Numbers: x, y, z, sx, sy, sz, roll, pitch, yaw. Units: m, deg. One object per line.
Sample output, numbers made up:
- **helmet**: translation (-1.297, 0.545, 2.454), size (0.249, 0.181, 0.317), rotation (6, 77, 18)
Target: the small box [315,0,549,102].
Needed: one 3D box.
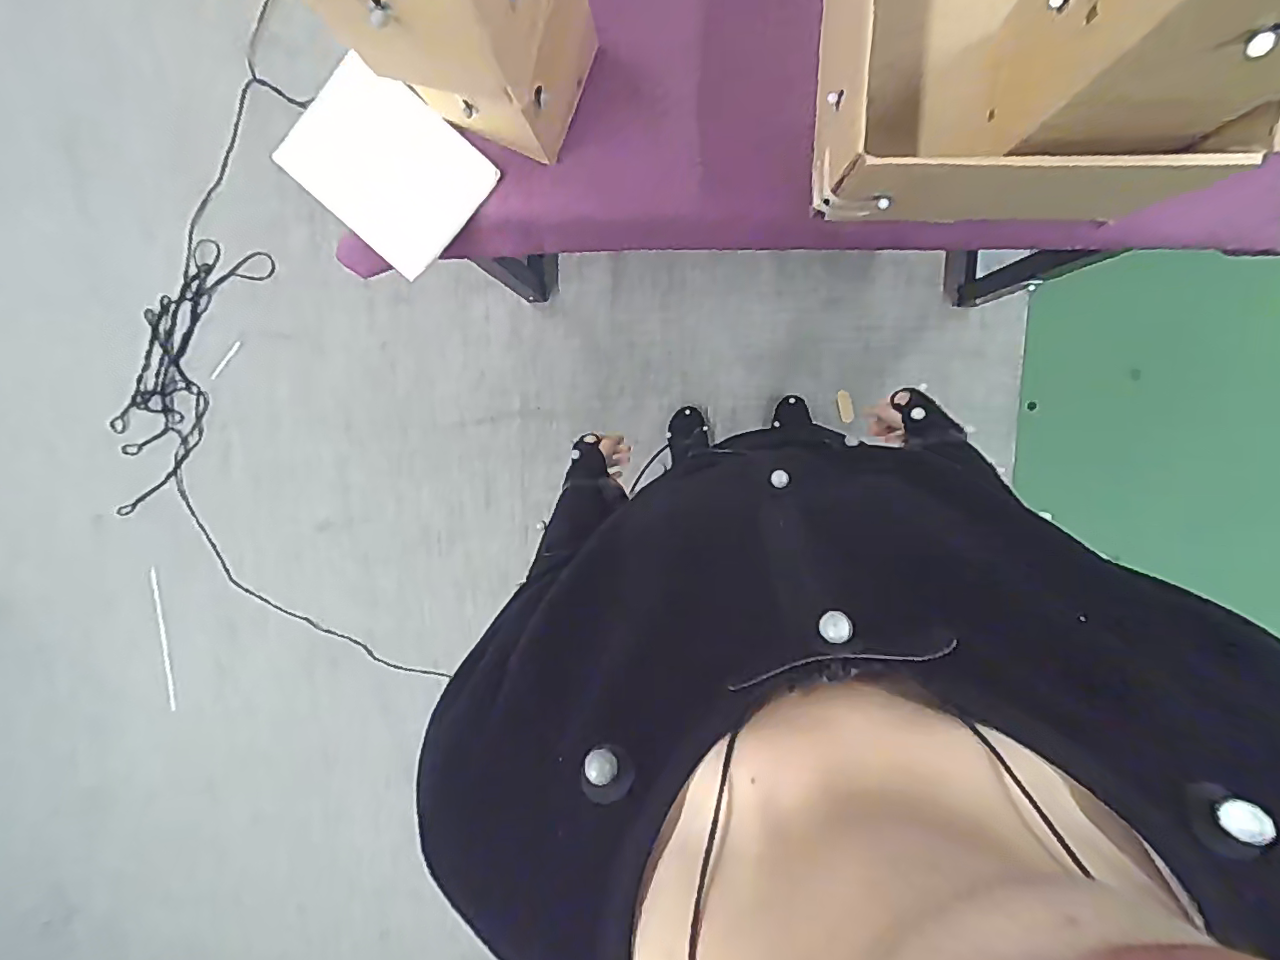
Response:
- **small box**: translation (-0.186, -0.486, 0.493), size (0.179, 0.176, 0.168), rotation (15, 98, 3)

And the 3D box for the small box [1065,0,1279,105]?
- **small box**: translation (0.470, -0.408, 0.397), size (0.179, 0.176, 0.168), rotation (4, 97, 7)
